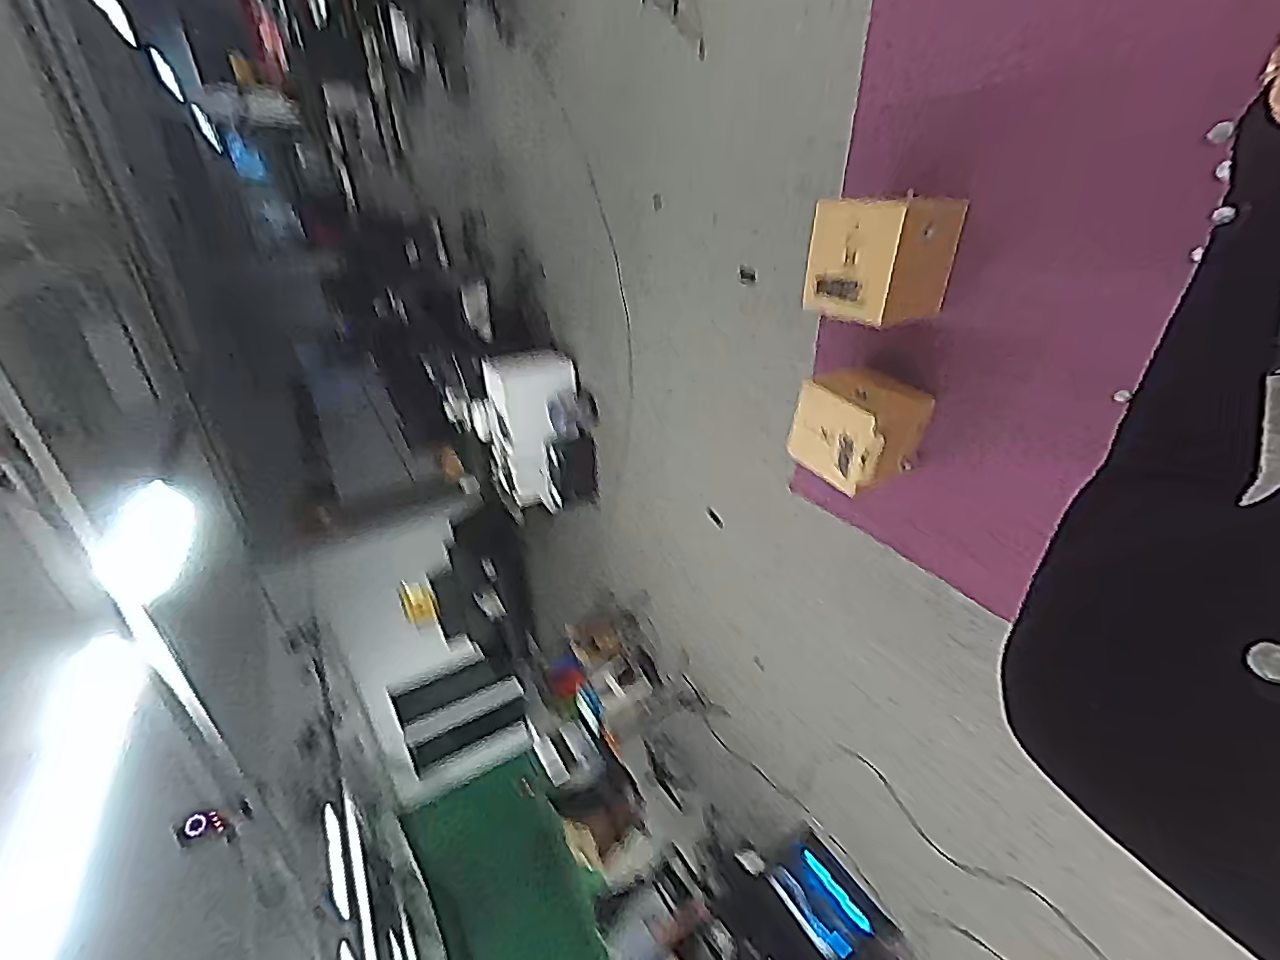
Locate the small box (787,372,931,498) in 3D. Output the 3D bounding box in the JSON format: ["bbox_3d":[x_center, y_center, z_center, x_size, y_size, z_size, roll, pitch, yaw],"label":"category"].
[{"bbox_3d":[0.420,-0.096,1.044,0.179,0.176,0.168,43,141,44],"label":"small box"}]
